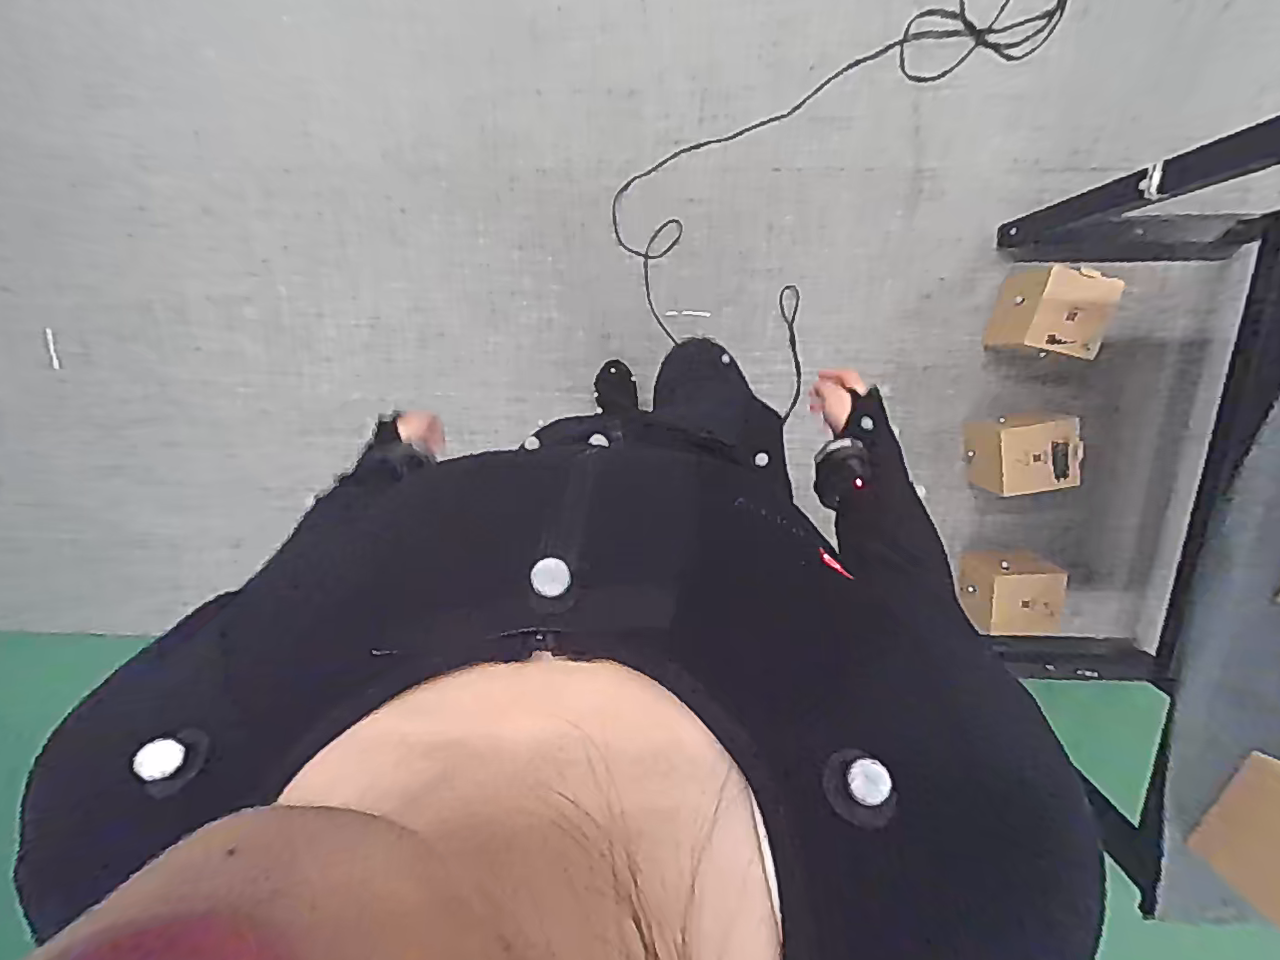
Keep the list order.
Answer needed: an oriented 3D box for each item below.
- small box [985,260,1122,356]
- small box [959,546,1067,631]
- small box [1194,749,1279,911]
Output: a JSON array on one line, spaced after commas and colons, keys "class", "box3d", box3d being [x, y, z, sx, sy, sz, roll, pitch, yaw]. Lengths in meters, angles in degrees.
[{"class": "small box", "box3d": [0.956, -0.395, 1.270, 0.168, 0.176, 0.179, 13, 103, 0]}, {"class": "small box", "box3d": [0.971, 0.282, 1.424, 0.179, 0.176, 0.168, -4, 103, 4]}, {"class": "small box", "box3d": [0.927, 0.503, 0.726, 0.168, 0.176, 0.179, 21, 102, -4]}]
